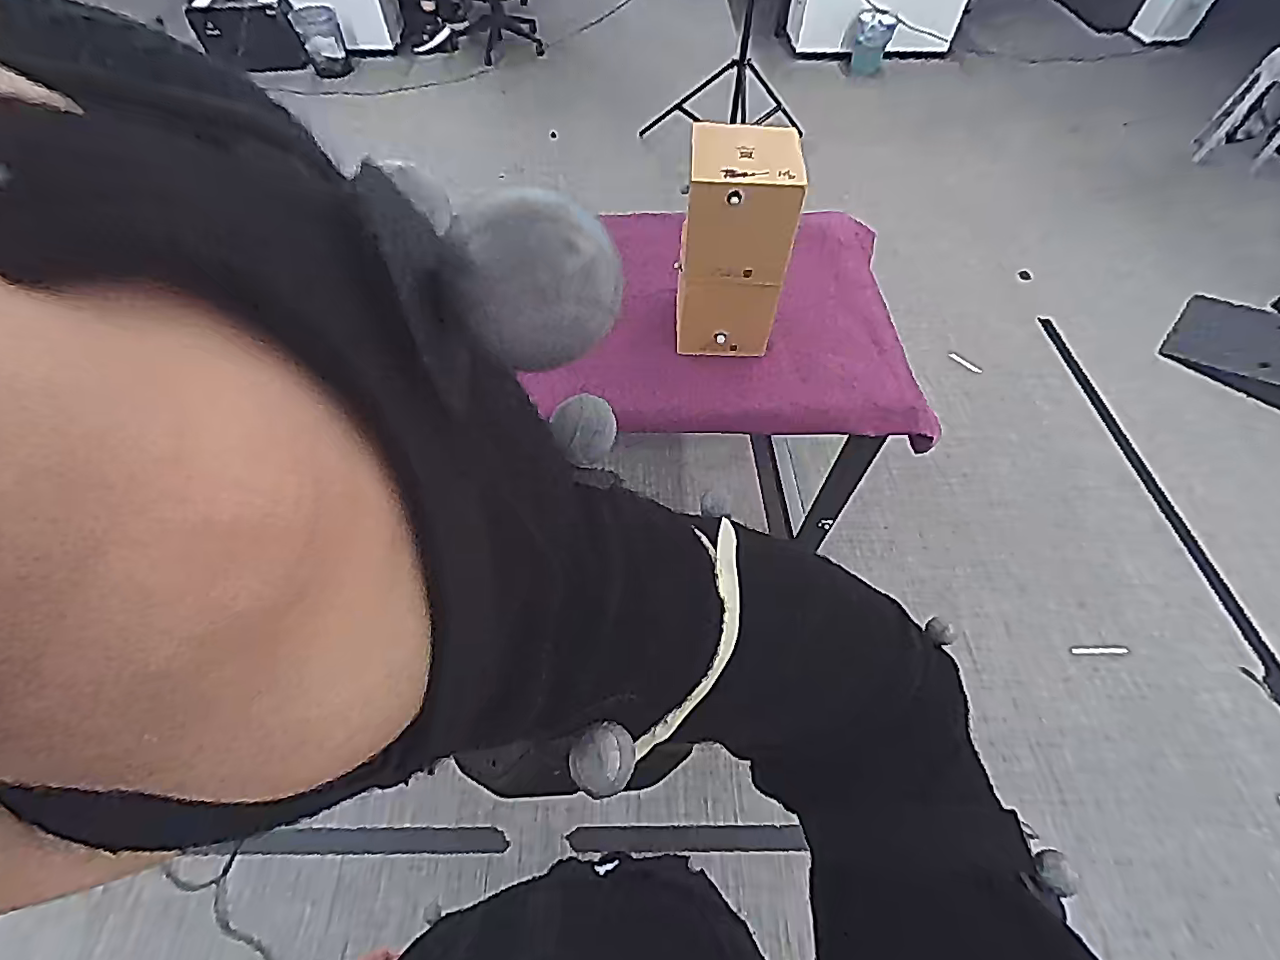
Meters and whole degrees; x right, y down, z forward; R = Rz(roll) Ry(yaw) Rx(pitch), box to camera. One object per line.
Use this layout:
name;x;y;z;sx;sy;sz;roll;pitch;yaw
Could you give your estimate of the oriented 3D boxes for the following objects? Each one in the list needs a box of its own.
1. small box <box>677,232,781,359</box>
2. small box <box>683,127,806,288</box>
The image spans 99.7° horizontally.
small box;0.156;-0.349;1.010;0.168;0.176;0.179;1;57;1
small box;0.157;-0.436;0.870;0.168;0.176;0.179;3;56;2
